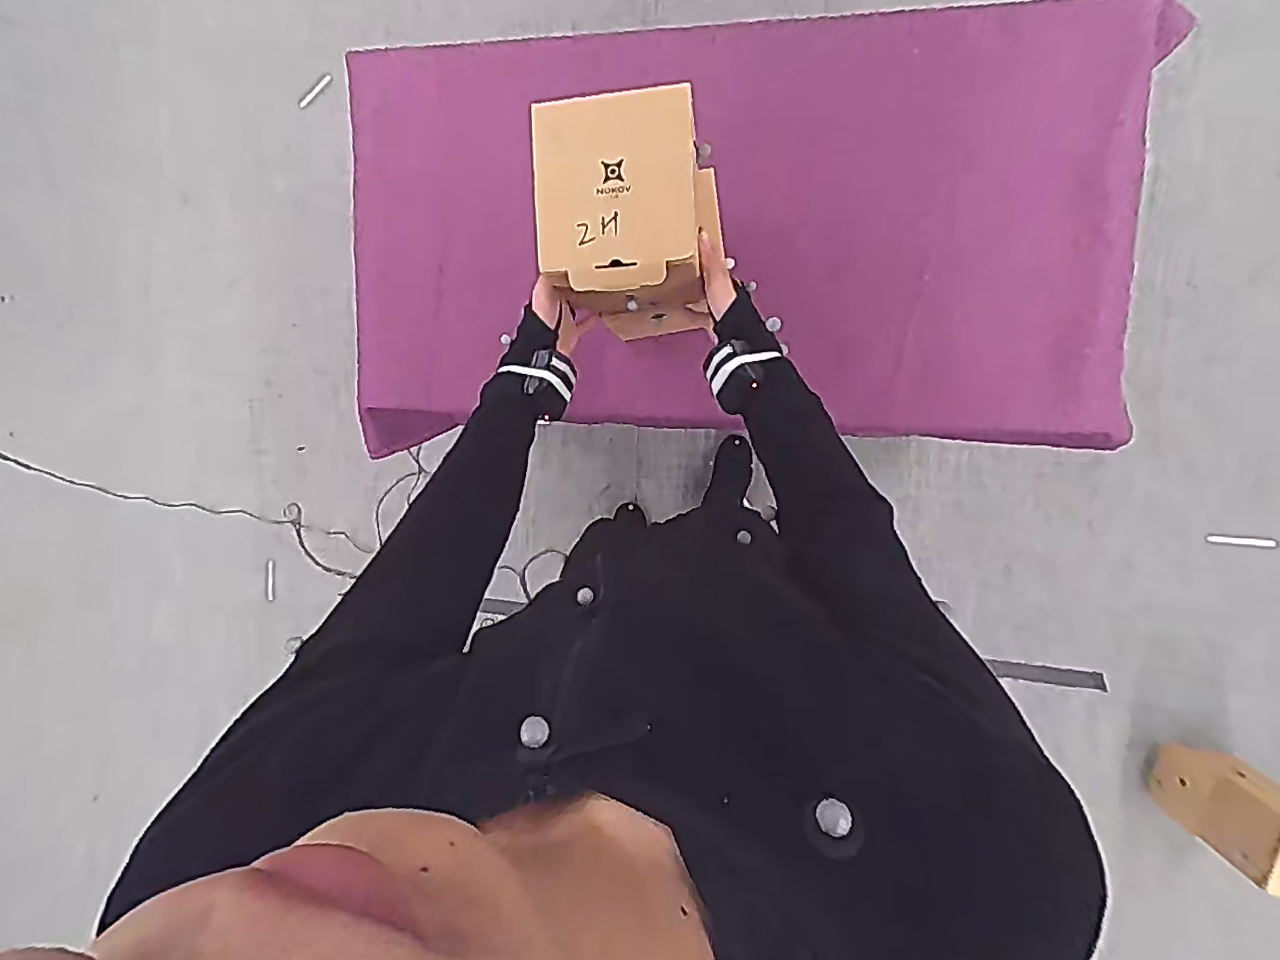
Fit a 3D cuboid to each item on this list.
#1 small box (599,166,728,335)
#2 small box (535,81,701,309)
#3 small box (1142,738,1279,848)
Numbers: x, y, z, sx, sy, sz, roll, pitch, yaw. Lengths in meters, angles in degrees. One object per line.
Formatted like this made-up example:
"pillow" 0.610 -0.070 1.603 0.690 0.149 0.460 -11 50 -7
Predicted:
"small box" 0.033 -0.318 0.788 0.179 0.176 0.168 -7 93 9
"small box" -0.016 -0.311 0.626 0.168 0.176 0.179 -1 93 8
"small box" 1.457 0.793 1.391 0.179 0.176 0.168 8 96 8
